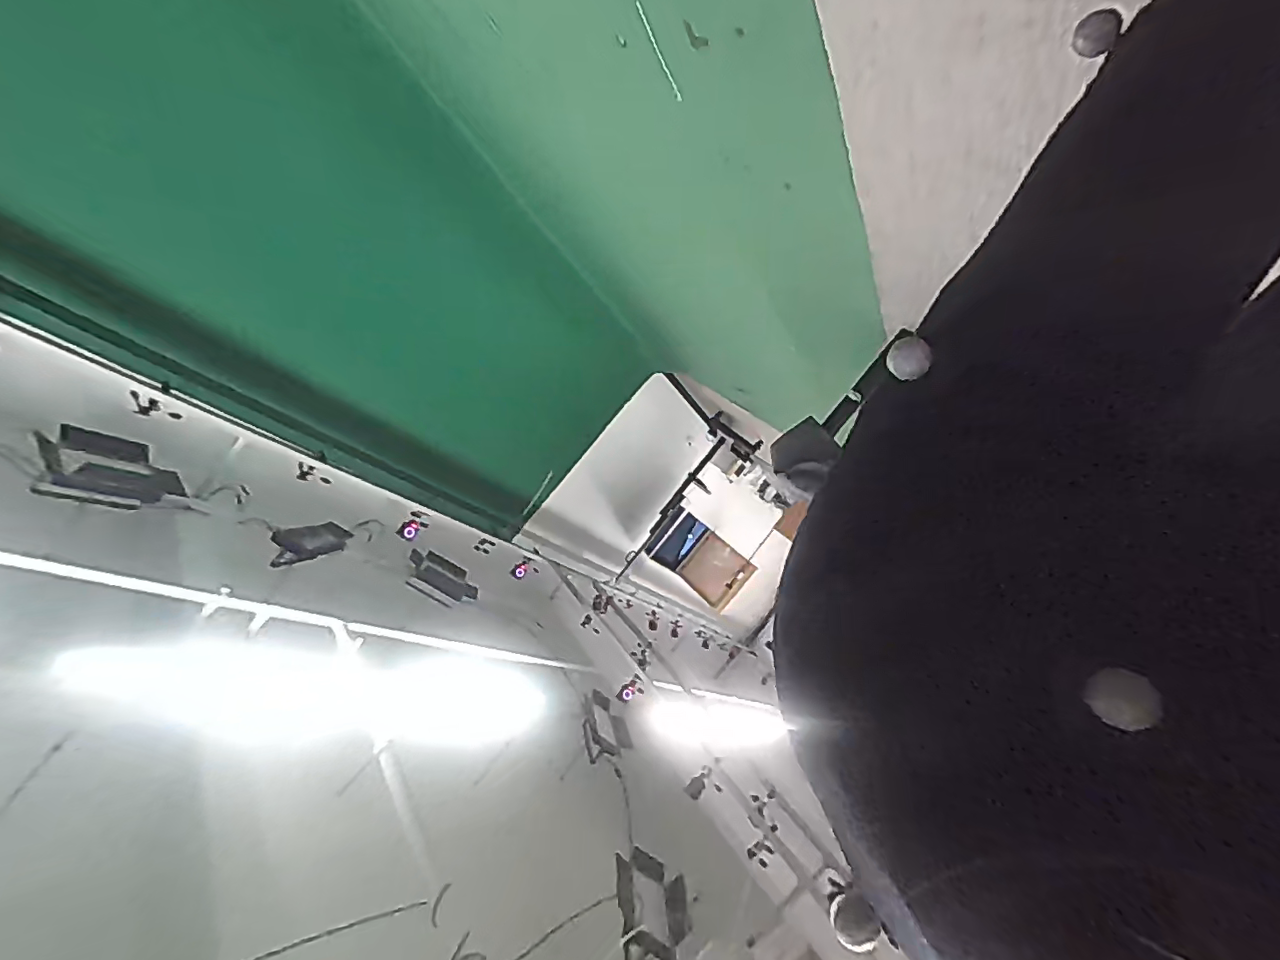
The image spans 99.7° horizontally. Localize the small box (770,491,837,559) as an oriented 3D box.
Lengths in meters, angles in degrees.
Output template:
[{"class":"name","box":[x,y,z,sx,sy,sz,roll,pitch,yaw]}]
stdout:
[{"class":"small box","box":[0.634,0.172,2.072,0.179,0.176,0.168,41,-179,33]}]
